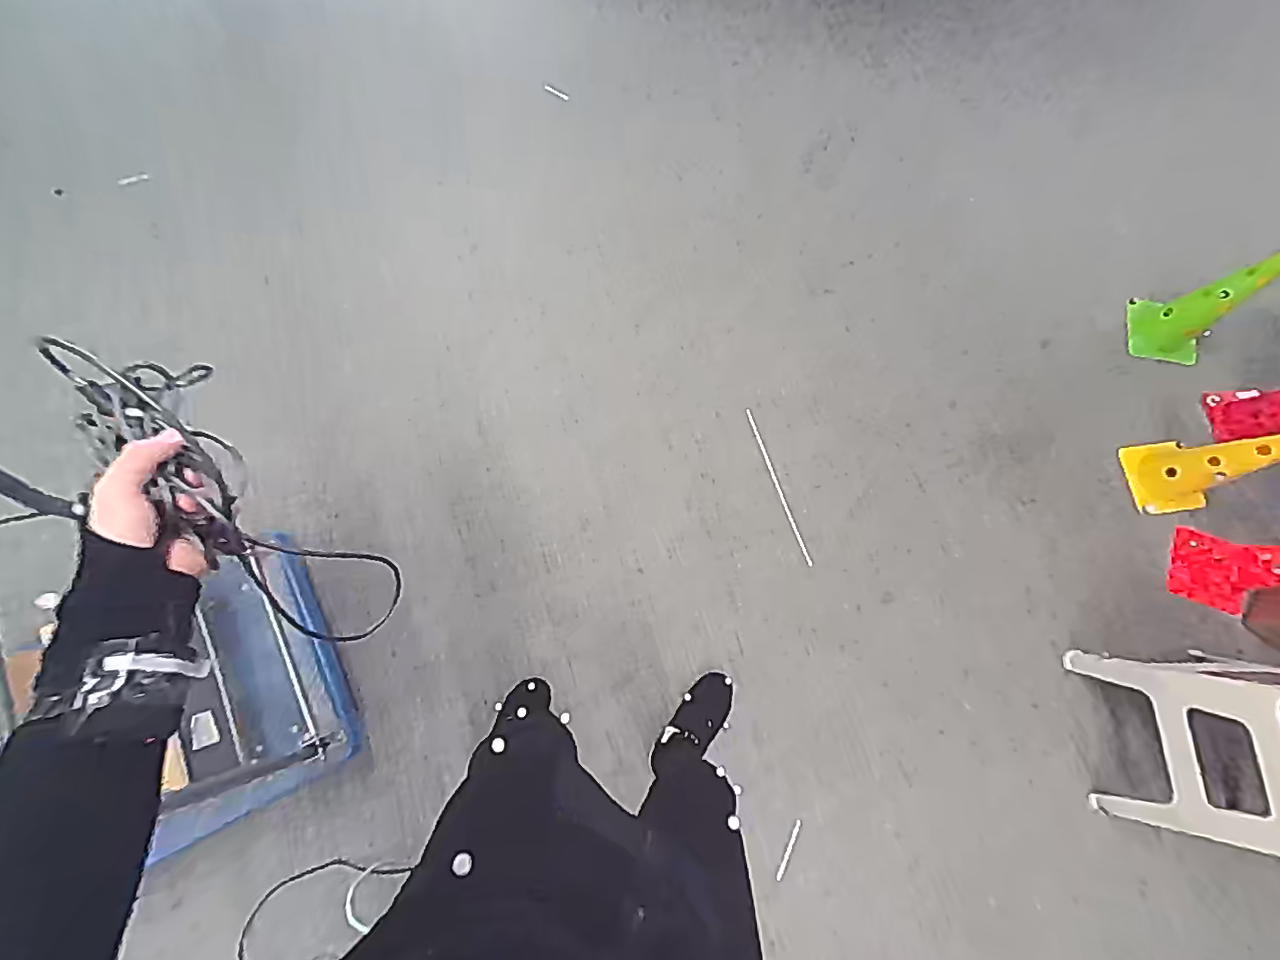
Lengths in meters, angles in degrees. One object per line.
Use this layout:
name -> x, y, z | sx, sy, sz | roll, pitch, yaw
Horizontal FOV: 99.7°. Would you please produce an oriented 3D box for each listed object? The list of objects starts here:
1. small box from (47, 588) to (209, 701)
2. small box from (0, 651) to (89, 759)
small box -> -1.089, 0.351, 1.162 | 0.179, 0.176, 0.168 | -26, 77, -9
small box -> -1.327, 0.473, 1.121 | 0.179, 0.176, 0.168 | -31, 78, -10
